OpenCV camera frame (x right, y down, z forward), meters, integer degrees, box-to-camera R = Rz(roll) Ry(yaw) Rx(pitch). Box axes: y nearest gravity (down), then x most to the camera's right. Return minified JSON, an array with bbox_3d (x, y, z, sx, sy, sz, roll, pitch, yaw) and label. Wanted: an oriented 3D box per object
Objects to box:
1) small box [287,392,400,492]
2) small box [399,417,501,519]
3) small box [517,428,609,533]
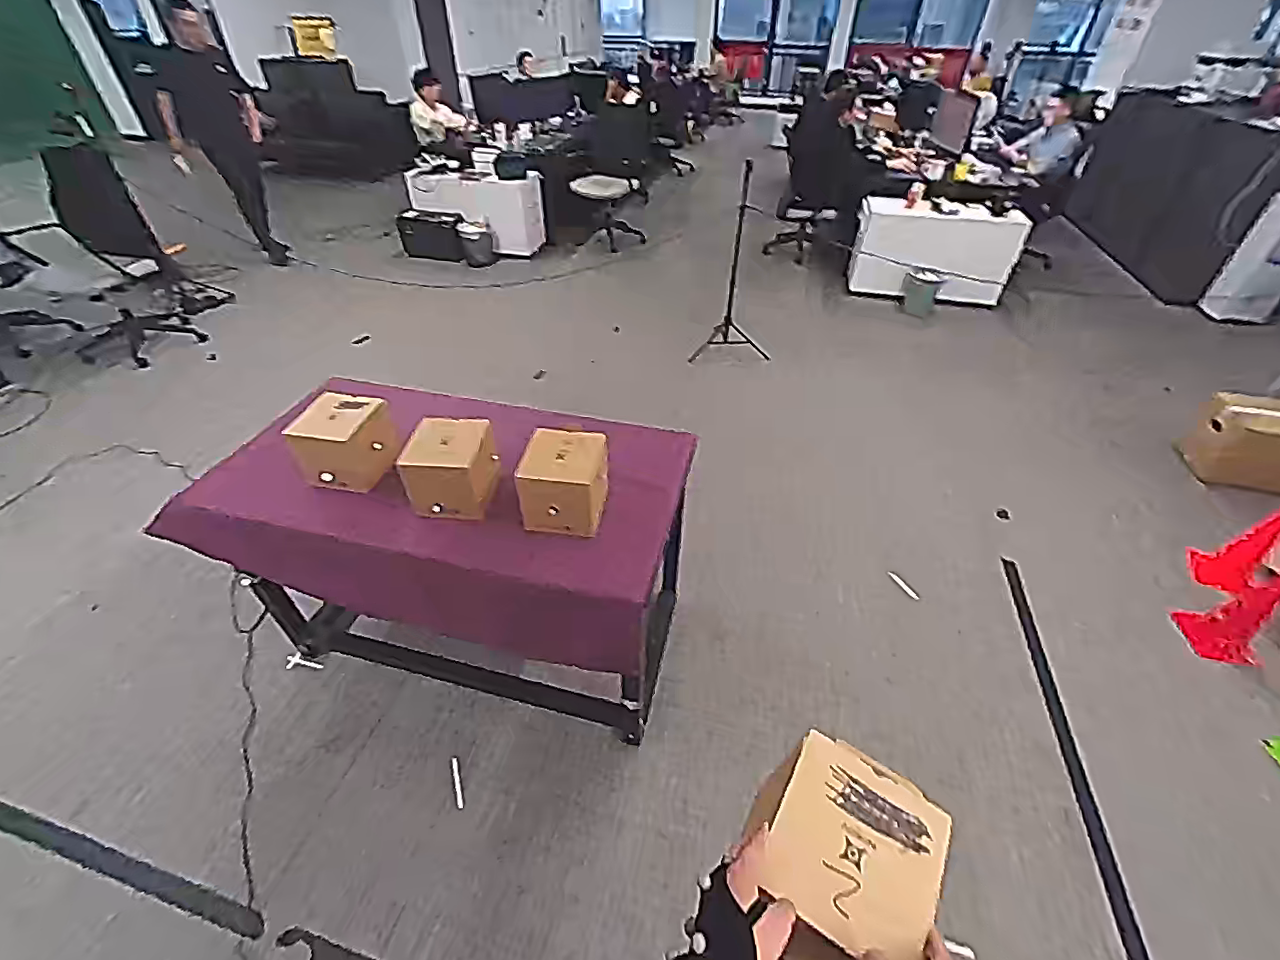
[{"bbox_3d":[-0.729,-0.097,1.358,0.168,0.176,0.179,7,43,8],"label":"small box"},{"bbox_3d":[-0.439,-0.030,1.287,0.168,0.176,0.179,3,41,4],"label":"small box"},{"bbox_3d":[-0.167,0.003,1.248,0.168,0.176,0.179,6,41,6],"label":"small box"}]
